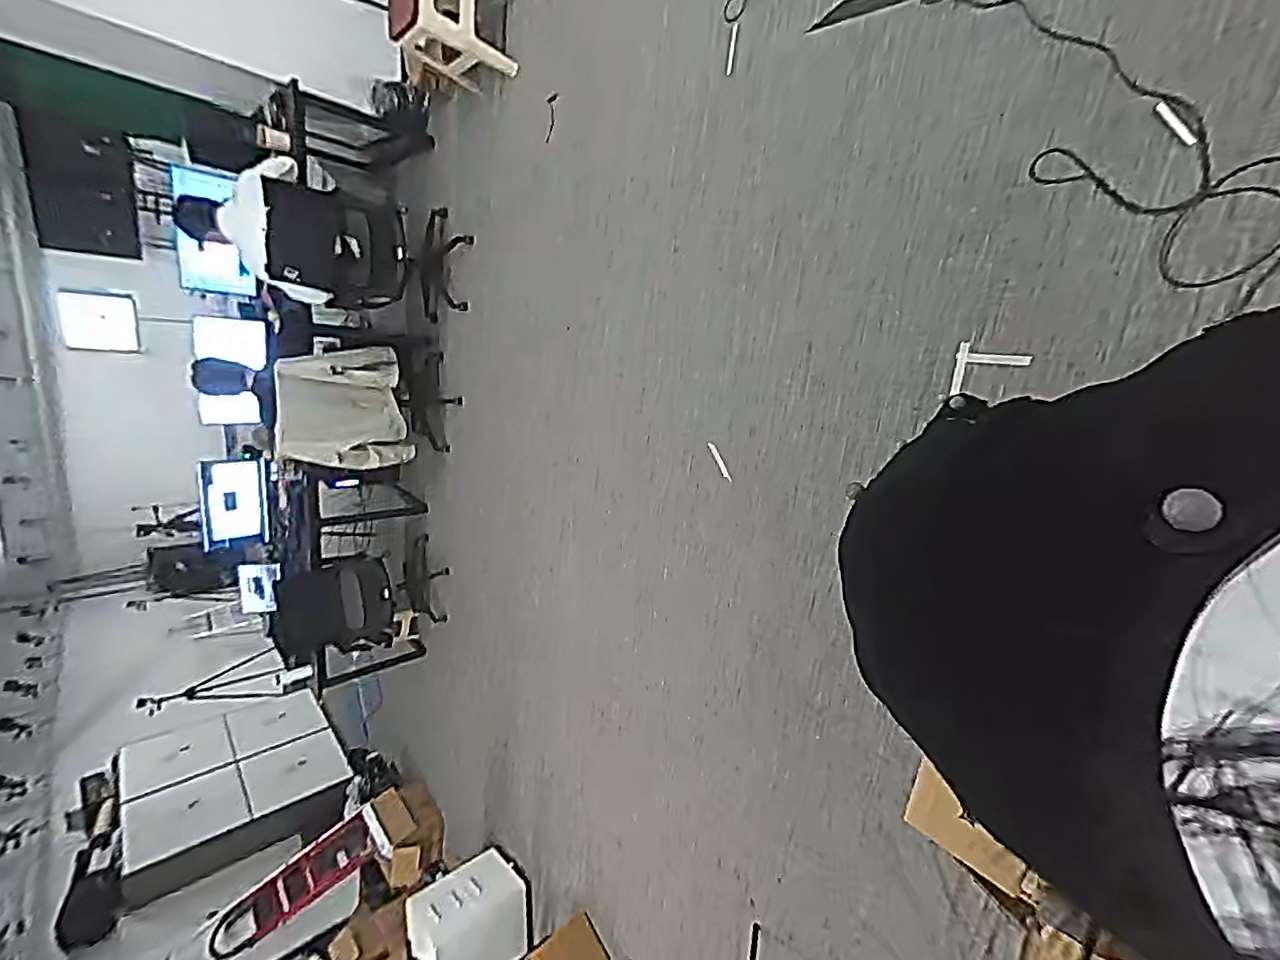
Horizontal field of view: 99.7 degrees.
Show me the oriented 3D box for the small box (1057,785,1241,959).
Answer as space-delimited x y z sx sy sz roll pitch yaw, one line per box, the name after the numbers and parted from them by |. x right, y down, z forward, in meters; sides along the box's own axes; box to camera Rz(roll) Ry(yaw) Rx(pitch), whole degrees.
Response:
0.692 0.579 0.756 0.168 0.176 0.179 18 106 43 | small box

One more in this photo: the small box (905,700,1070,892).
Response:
0.566 0.499 0.881 0.168 0.176 0.179 22 110 44 | small box

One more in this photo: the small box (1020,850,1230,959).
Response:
0.571 0.602 0.647 0.168 0.176 0.179 21 108 42 | small box
